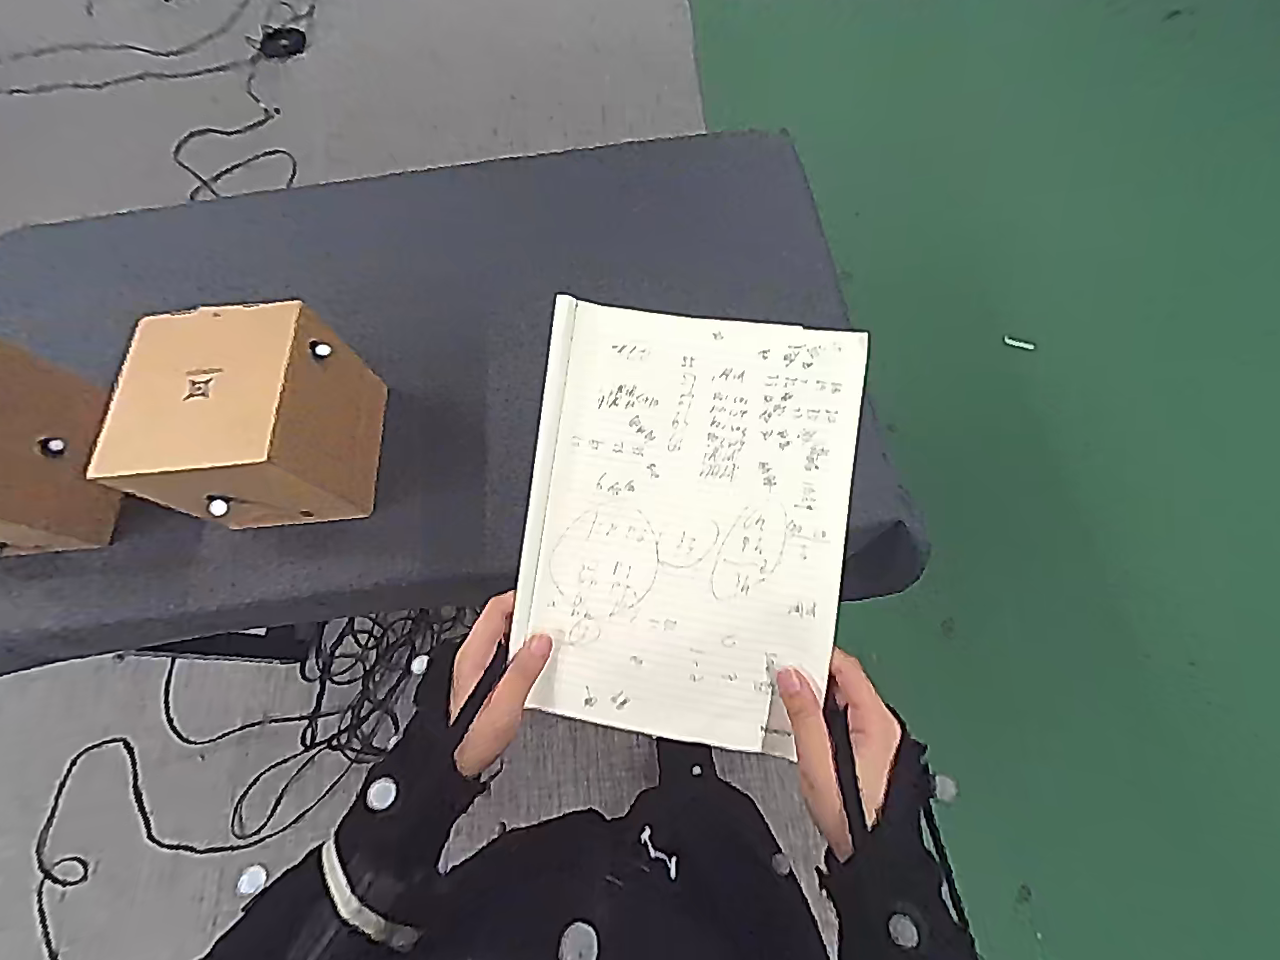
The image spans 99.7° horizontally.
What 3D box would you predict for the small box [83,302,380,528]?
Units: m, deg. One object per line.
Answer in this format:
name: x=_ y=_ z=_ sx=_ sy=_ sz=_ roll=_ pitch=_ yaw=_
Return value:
small box: x=-0.397 y=-0.054 z=0.564 sx=0.168 sy=0.176 sz=0.179 roll=-6 pitch=68 yaw=3
